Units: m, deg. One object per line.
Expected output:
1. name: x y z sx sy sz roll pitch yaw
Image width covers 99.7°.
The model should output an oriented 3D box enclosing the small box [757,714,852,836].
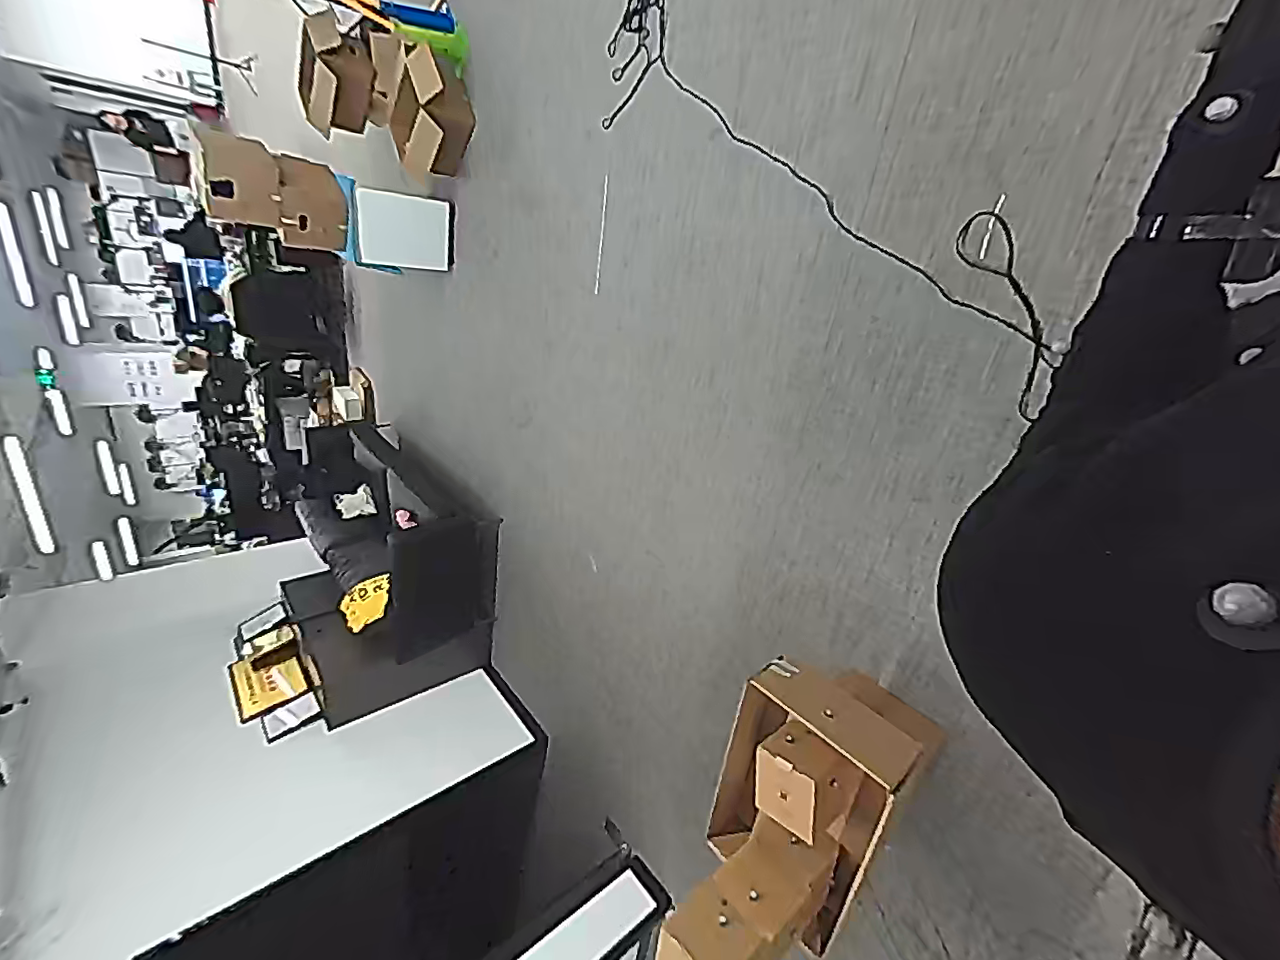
1. small box: 0.414 0.725 1.353 0.168 0.176 0.179 13 109 48

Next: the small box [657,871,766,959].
1. small box: 0.162 1.046 1.213 0.168 0.176 0.179 25 117 42

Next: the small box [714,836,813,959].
1. small box: 0.290 1.012 1.313 0.179 0.176 0.168 23 115 43
